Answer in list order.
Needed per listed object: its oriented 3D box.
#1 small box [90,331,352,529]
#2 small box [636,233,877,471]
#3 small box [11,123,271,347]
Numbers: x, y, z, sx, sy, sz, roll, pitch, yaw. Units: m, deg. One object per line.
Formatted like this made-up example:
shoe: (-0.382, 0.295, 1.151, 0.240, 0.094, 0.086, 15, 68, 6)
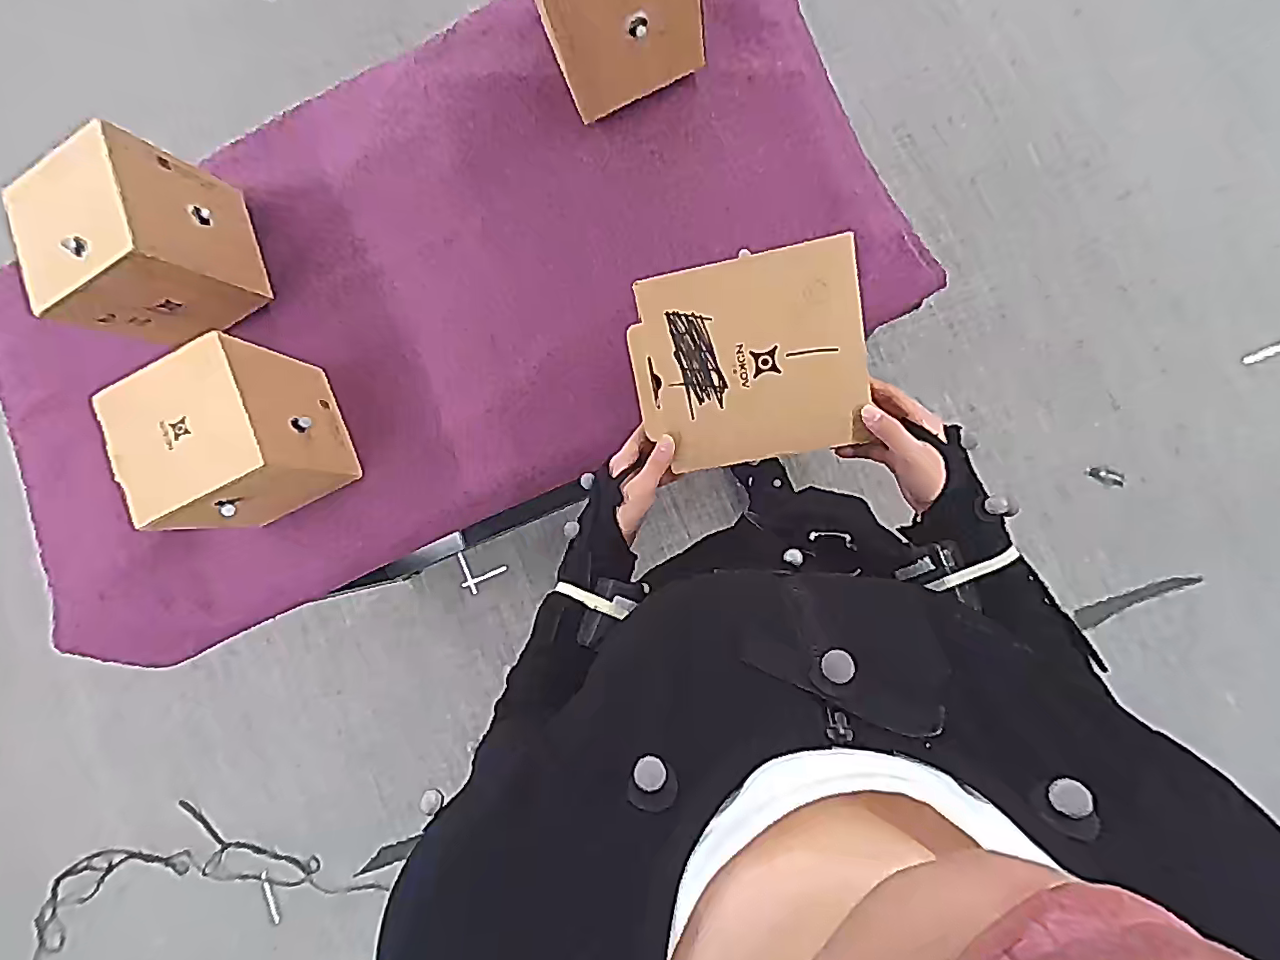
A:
small box: (-0.489, -0.052, 0.662, 0.179, 0.176, 0.168, -25, 84, 6)
small box: (0.108, -0.116, 0.514, 0.179, 0.176, 0.168, -9, 104, 11)
small box: (-0.619, -0.294, 0.677, 0.179, 0.168, 0.176, -21, 84, 14)
